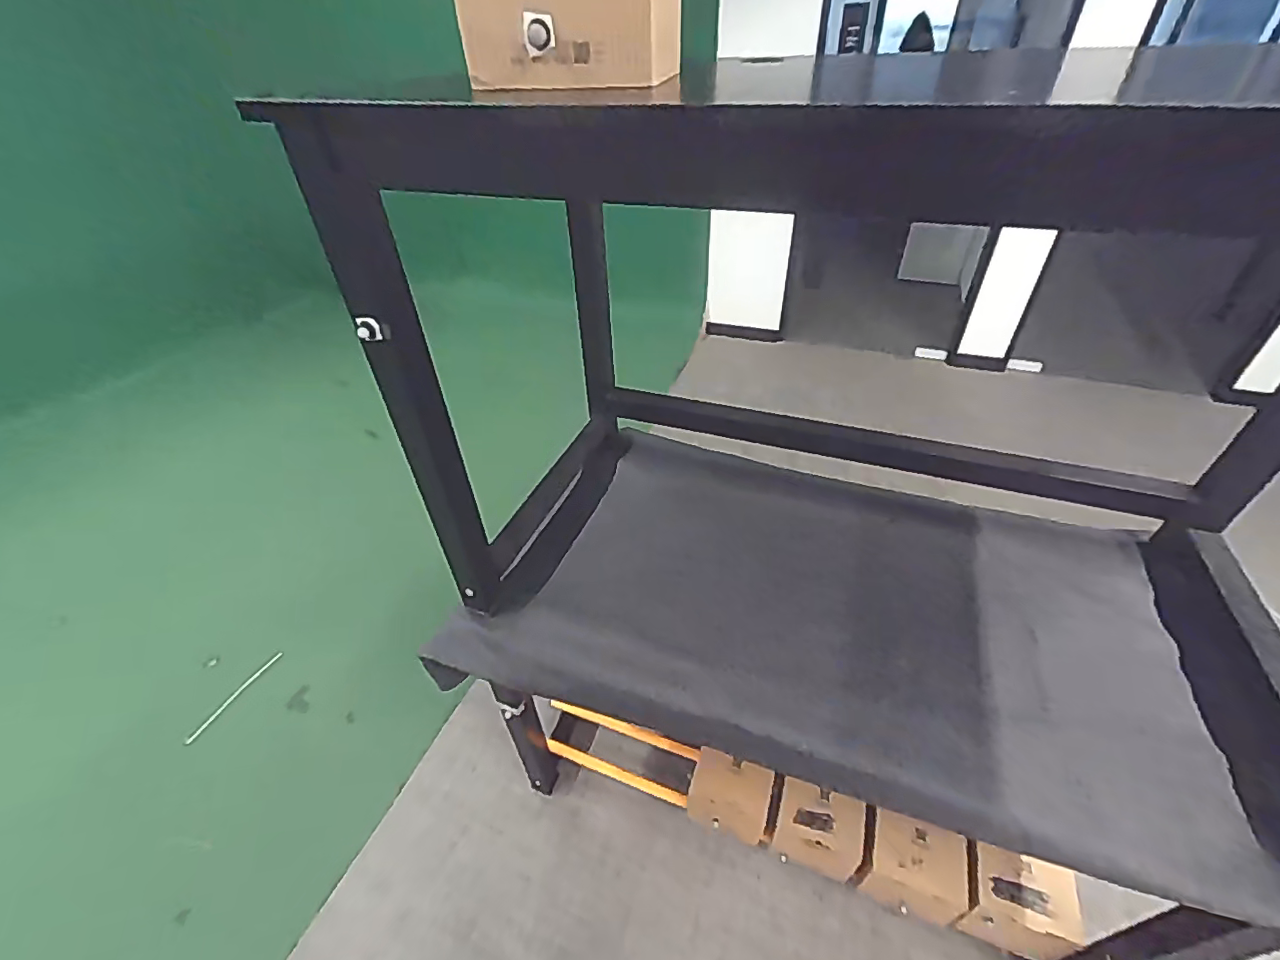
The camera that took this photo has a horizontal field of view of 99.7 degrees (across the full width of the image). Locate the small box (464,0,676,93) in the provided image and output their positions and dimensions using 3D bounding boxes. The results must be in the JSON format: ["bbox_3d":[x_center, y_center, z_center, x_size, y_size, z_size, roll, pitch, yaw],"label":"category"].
[{"bbox_3d":[-0.058,-0.457,0.482,0.168,0.176,0.179,4,41,9],"label":"small box"}]
